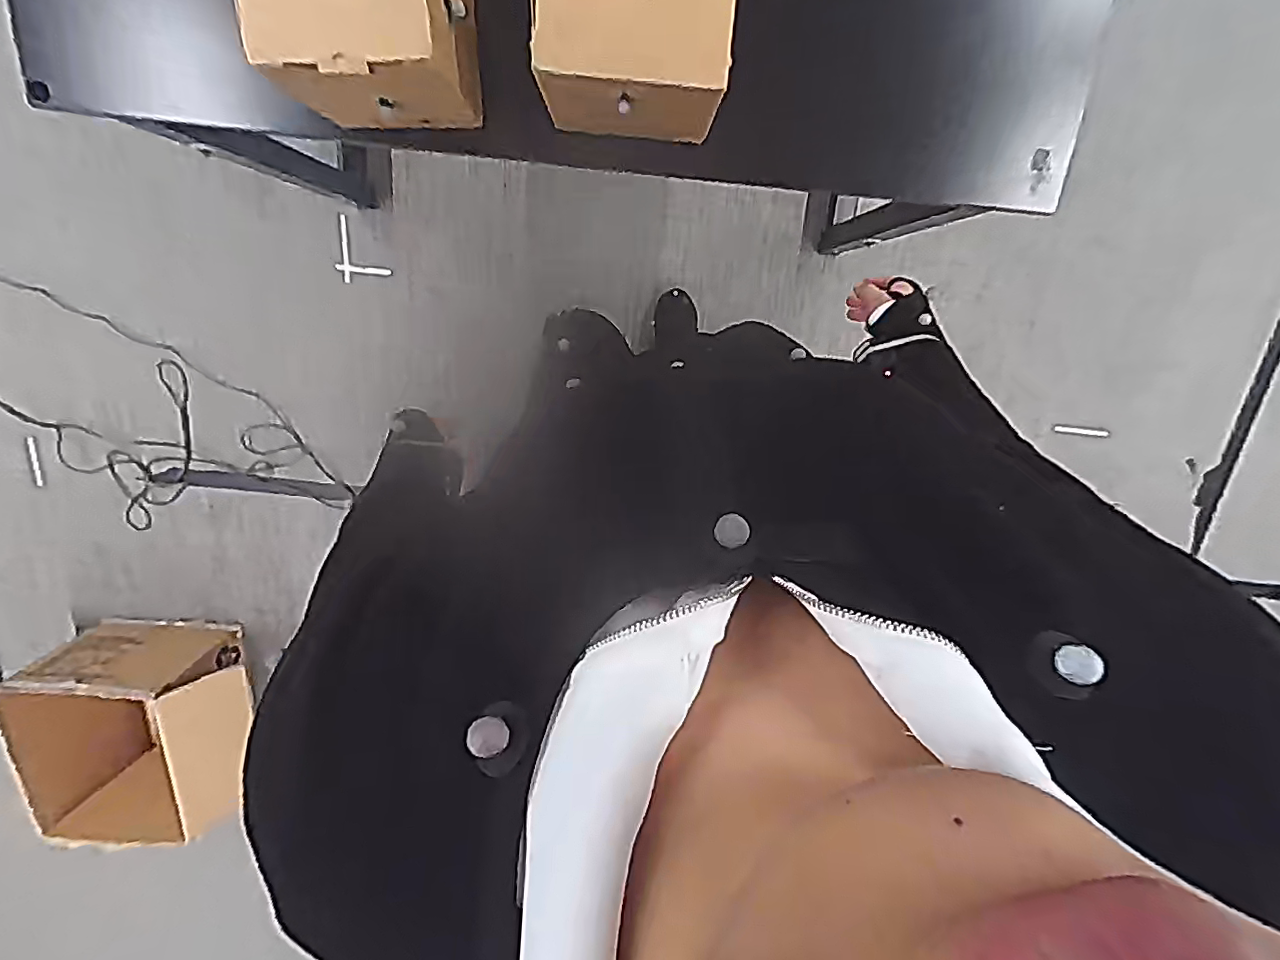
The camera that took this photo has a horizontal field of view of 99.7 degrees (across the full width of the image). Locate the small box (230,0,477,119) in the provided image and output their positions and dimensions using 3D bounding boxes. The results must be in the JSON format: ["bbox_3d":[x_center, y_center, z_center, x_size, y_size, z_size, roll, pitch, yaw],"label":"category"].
[{"bbox_3d":[-0.266,-0.471,0.523,0.168,0.176,0.179,-1,107,0],"label":"small box"}]

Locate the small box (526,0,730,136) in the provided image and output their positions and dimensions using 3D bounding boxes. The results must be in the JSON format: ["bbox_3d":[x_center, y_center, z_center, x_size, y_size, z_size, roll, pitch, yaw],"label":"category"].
[{"bbox_3d":[-0.008,-0.460,0.532,0.179,0.176,0.168,4,108,-3],"label":"small box"}]
